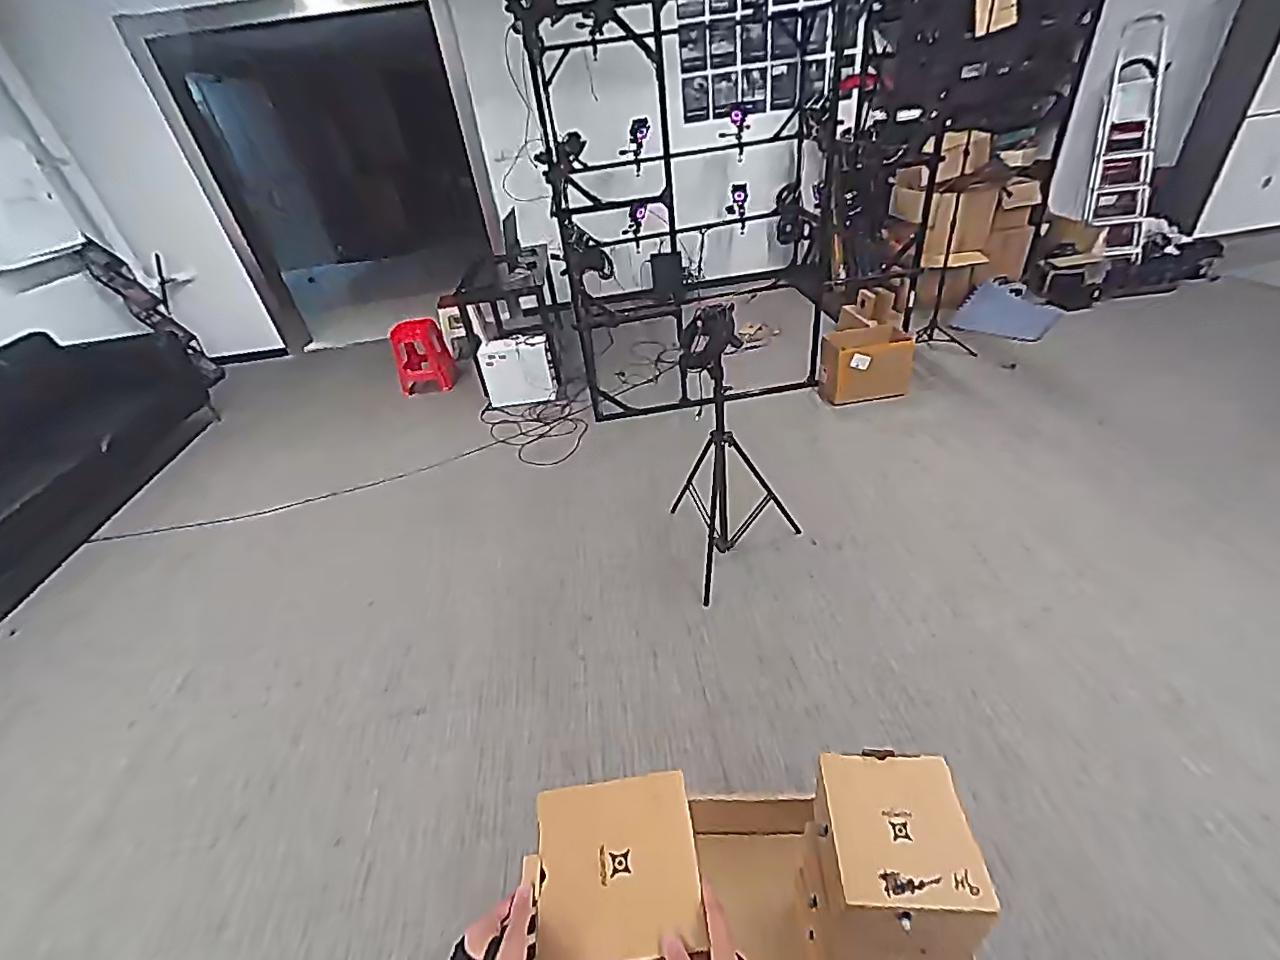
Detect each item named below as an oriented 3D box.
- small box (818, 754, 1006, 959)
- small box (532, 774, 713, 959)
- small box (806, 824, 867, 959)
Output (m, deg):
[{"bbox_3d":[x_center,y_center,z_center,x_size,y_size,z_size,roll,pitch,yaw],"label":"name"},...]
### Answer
[{"bbox_3d":[0.330,0.486,0.700,0.168,0.176,0.179,-4,34,9],"label":"small box"},{"bbox_3d":[-0.015,0.464,0.622,0.179,0.176,0.168,-10,43,1],"label":"small box"},{"bbox_3d":[0.350,0.623,0.790,0.179,0.176,0.168,-7,35,4],"label":"small box"}]
